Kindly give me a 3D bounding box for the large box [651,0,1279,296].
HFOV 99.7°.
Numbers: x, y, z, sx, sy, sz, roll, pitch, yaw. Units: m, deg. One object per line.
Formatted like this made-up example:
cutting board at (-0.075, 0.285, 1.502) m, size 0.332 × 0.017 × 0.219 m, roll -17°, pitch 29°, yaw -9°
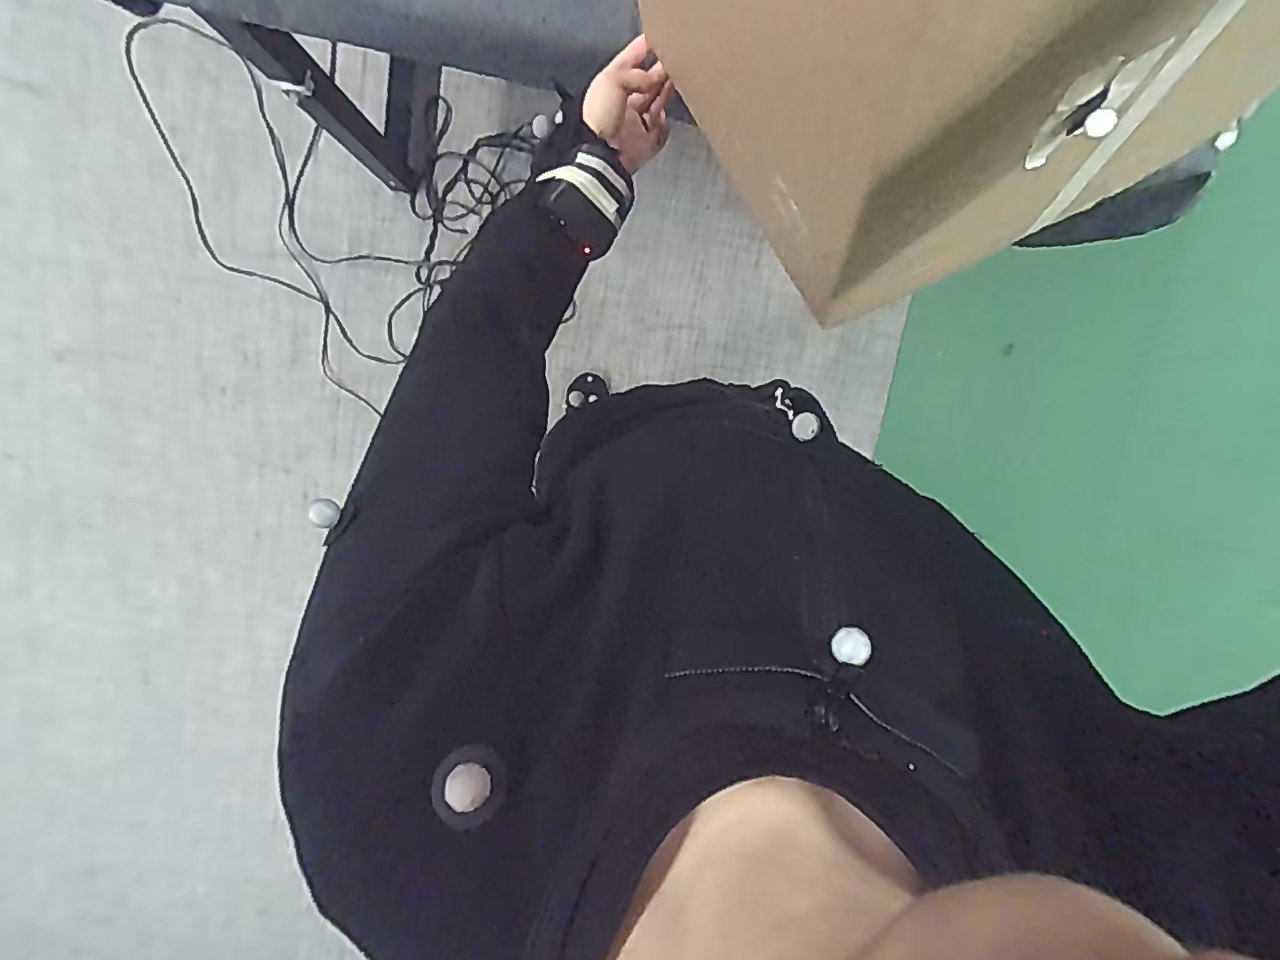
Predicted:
large box at (0.171, -0.363, 0.229) m, size 0.320 × 0.408 × 0.320 m, roll -28°, pitch 78°, yaw 6°
